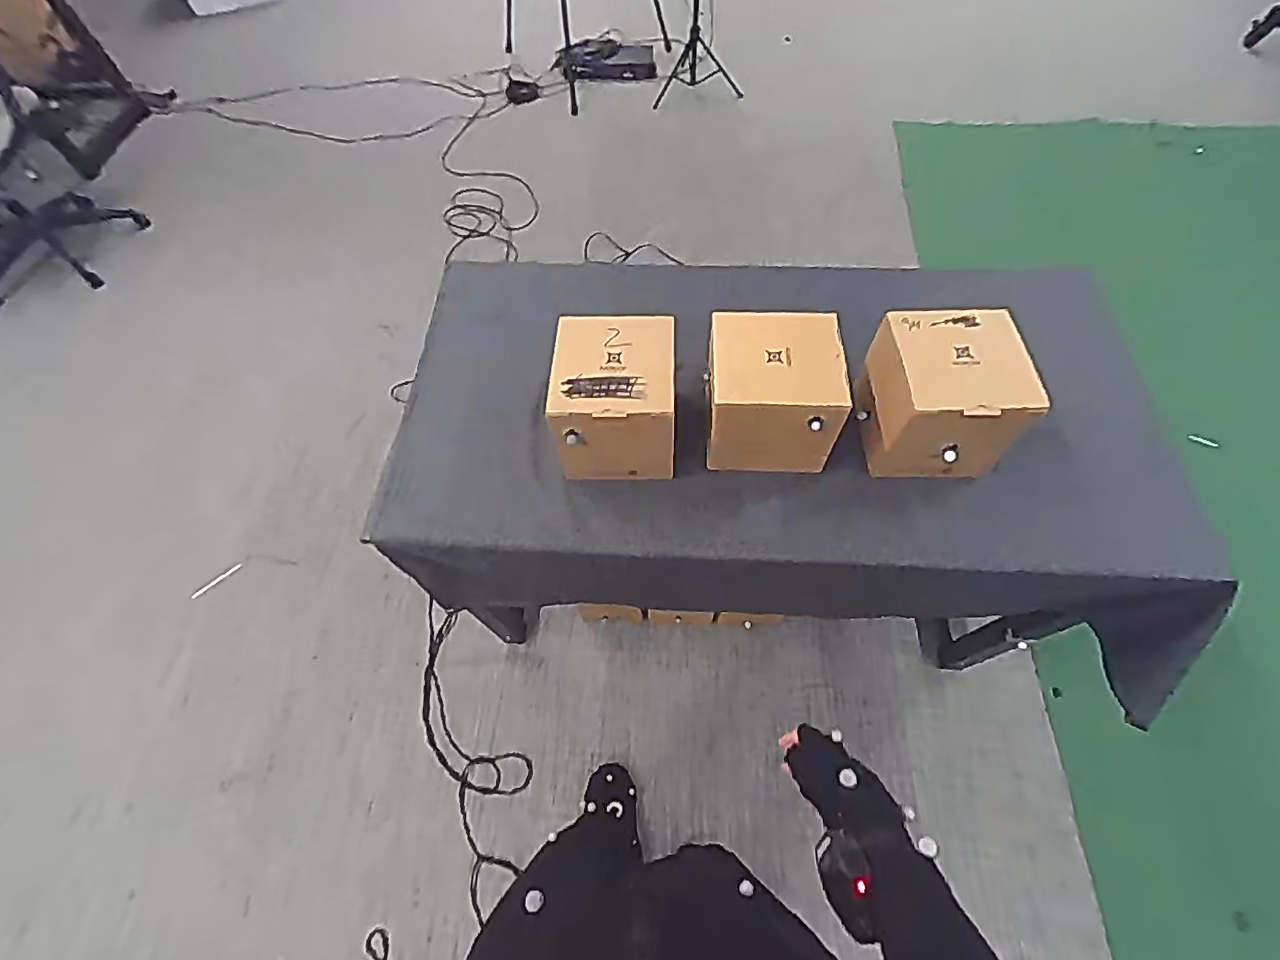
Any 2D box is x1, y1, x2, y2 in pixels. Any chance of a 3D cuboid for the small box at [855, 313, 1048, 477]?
[{"bbox_3d":[0.427,-0.116,0.777,0.168,0.176,0.179,1,61,2],"label":"small box"}]
